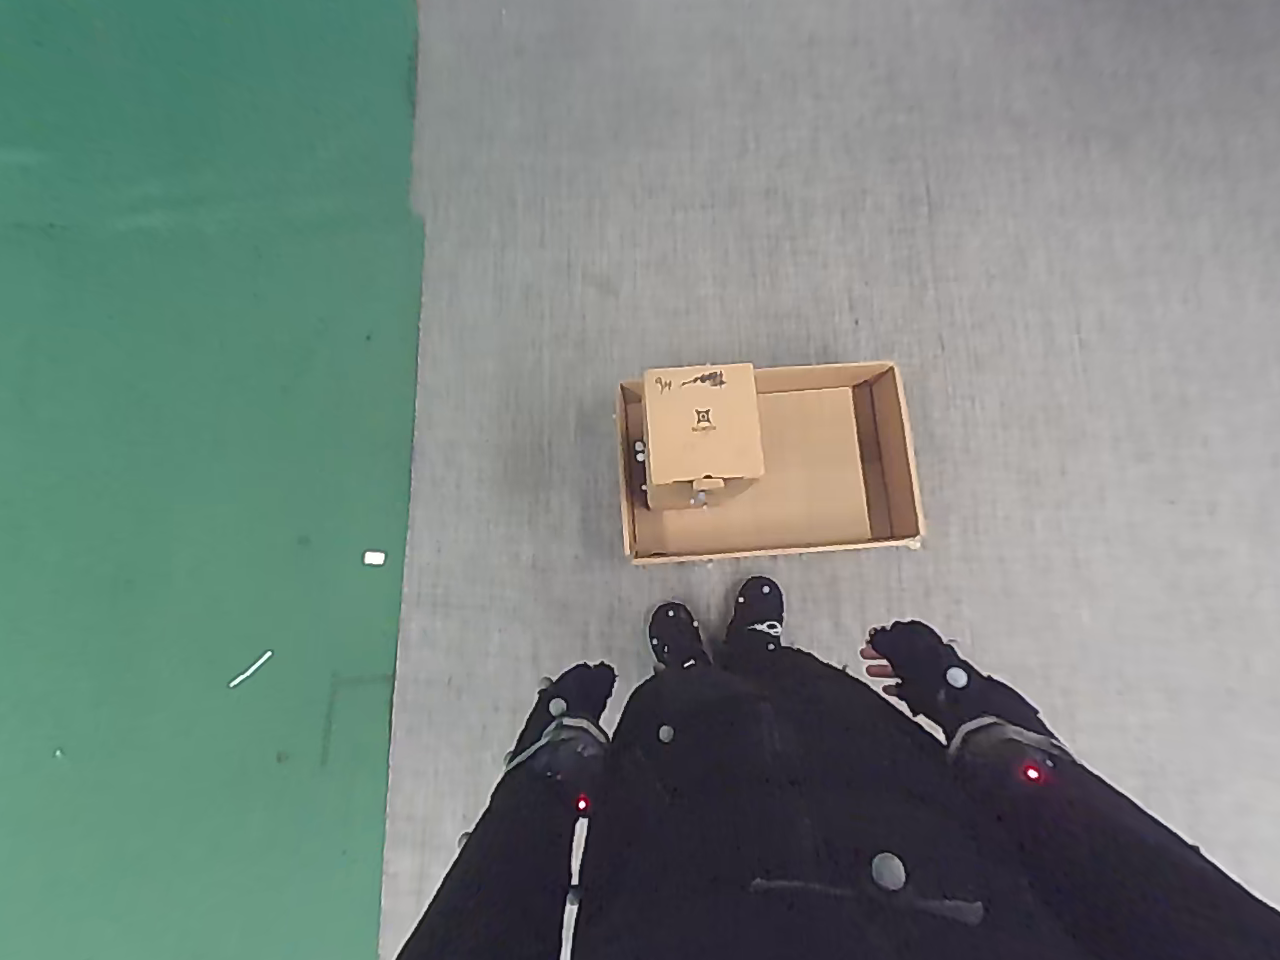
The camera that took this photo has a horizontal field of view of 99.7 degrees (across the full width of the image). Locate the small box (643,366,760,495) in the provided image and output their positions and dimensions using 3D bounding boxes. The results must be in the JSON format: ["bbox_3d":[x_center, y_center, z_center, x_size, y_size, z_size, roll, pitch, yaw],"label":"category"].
[{"bbox_3d":[0.093,-0.070,0.878,0.168,0.176,0.179,-4,82,0],"label":"small box"}]

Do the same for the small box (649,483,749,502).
[{"bbox_3d":[0.103,-0.050,1.040,0.179,0.176,0.168,-4,81,1],"label":"small box"}]
